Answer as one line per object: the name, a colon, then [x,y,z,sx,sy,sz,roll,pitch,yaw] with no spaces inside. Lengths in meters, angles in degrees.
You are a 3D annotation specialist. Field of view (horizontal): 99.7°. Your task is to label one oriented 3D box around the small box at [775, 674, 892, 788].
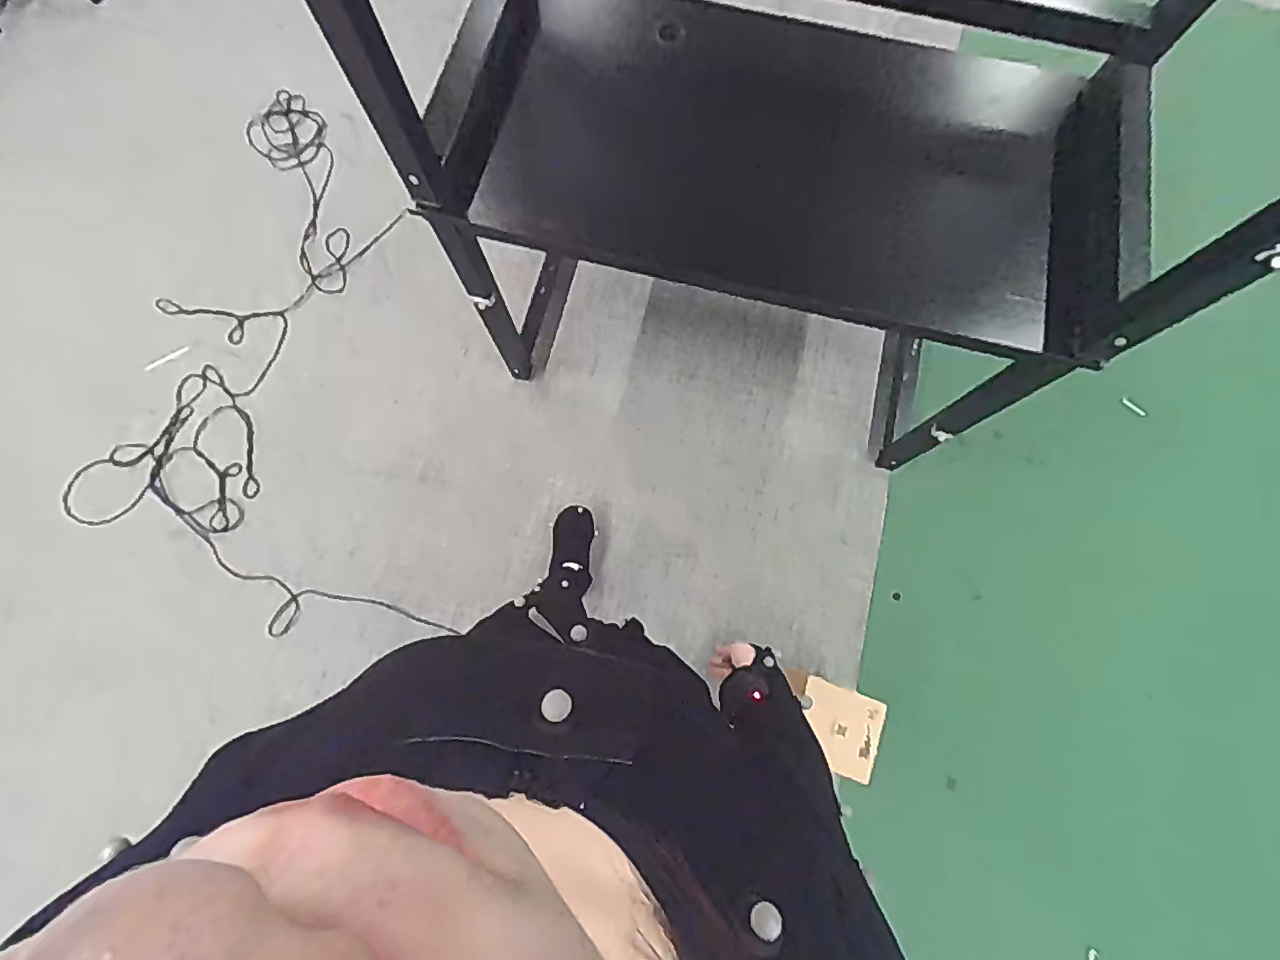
small box: [0.414,0.537,1.186,0.179,0.176,0.168,21,76,5]
